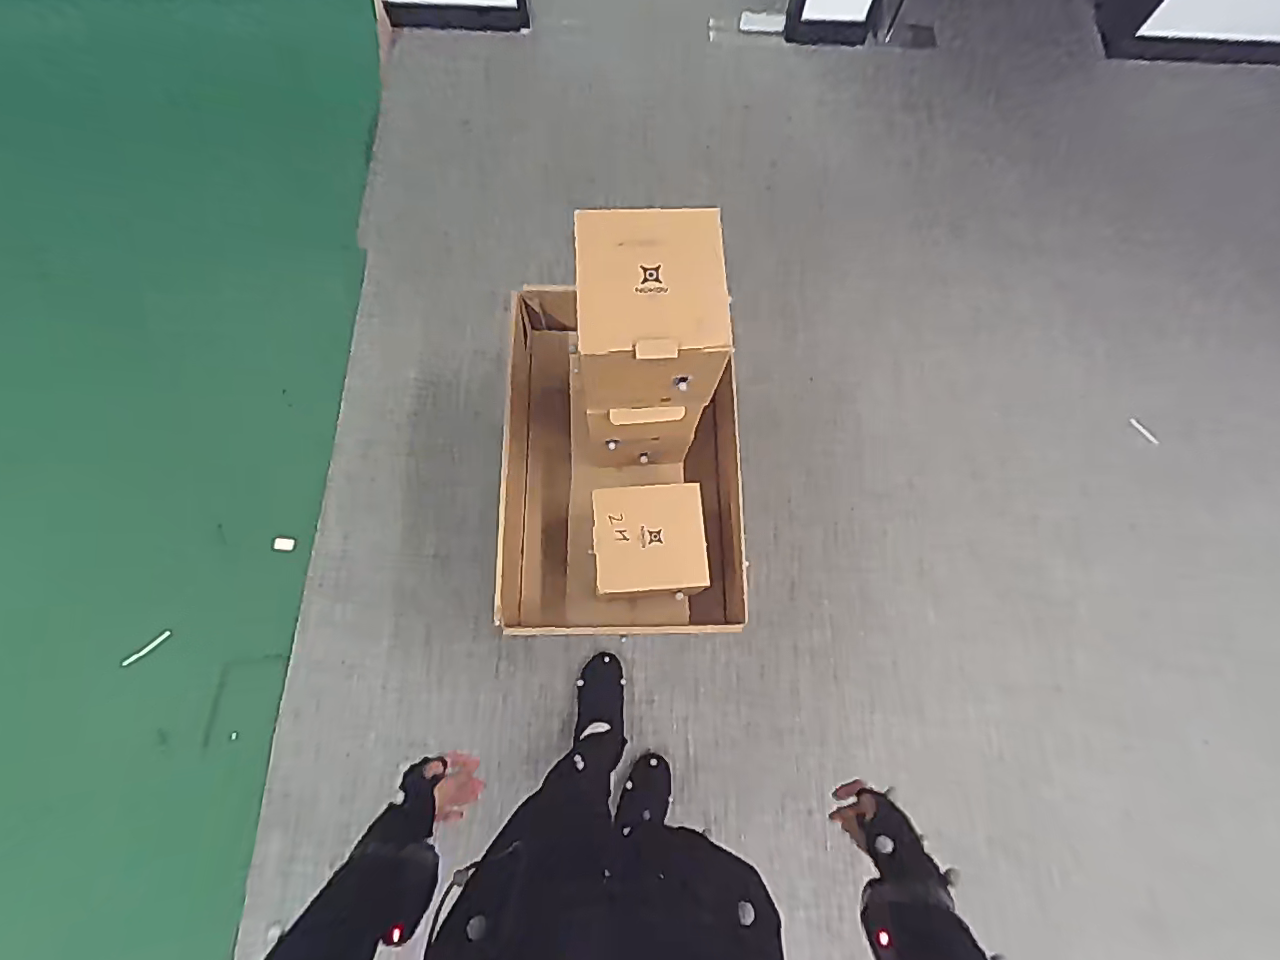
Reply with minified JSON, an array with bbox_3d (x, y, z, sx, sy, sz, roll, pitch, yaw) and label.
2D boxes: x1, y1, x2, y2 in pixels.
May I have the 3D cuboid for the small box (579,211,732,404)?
[{"bbox_3d":[0.013,-0.199,0.666,0.168,0.176,0.179,-2,77,-3],"label":"small box"}]

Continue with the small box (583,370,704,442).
[{"bbox_3d":[-0.001,-0.162,0.824,0.168,0.176,0.179,-5,77,-3],"label":"small box"}]
